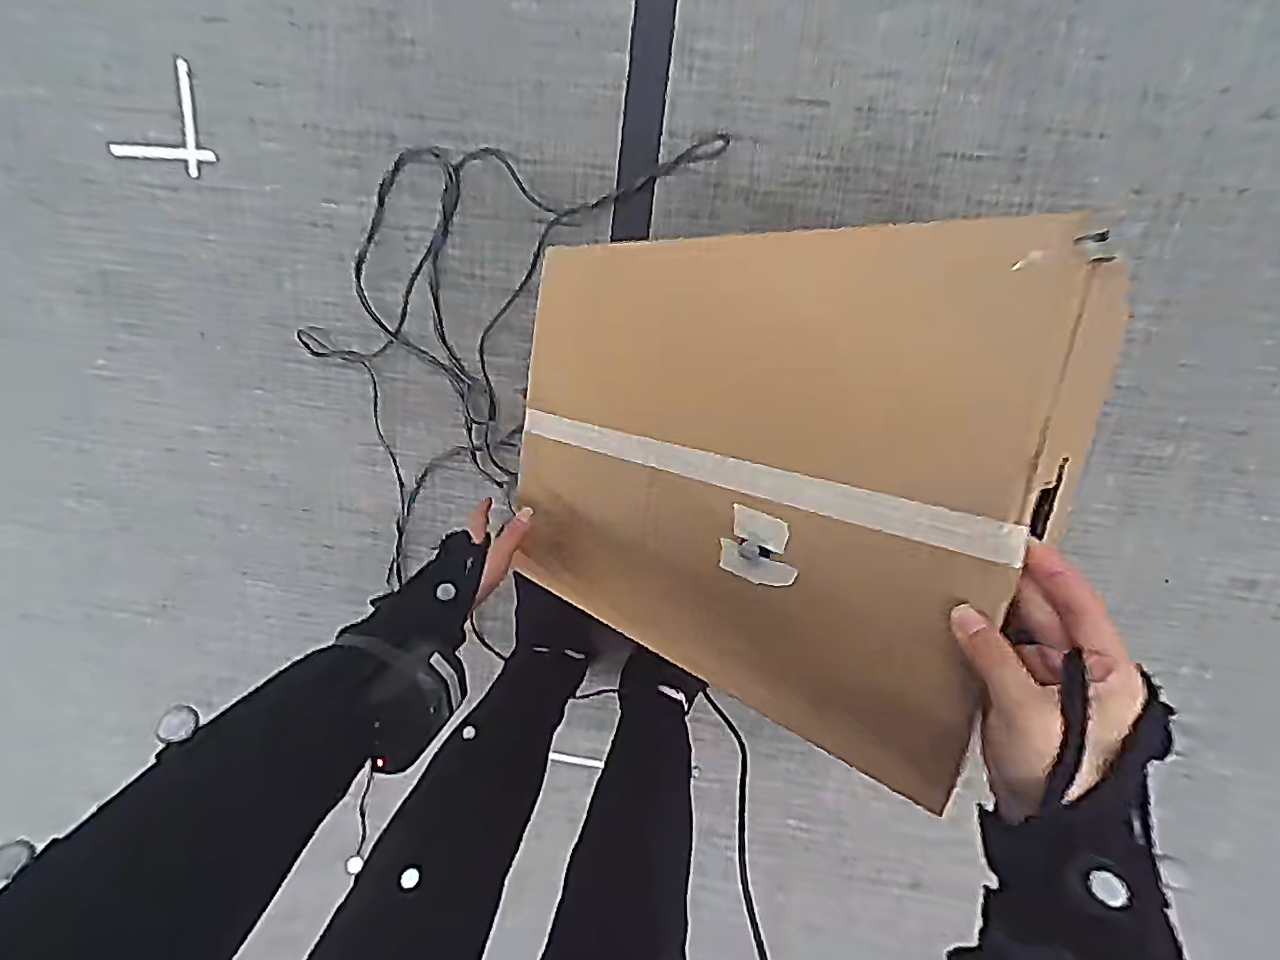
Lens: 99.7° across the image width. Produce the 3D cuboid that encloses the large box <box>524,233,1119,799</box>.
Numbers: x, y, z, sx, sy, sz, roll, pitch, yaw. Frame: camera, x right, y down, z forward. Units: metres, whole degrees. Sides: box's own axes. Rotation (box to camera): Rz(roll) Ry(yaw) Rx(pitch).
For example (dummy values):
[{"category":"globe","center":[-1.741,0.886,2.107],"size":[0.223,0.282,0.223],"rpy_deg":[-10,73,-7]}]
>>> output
[{"category":"large box","center":[0.147,-0.014,0.513],"size":[0.408,0.320,0.320],"rpy_deg":[17,104,38]}]
